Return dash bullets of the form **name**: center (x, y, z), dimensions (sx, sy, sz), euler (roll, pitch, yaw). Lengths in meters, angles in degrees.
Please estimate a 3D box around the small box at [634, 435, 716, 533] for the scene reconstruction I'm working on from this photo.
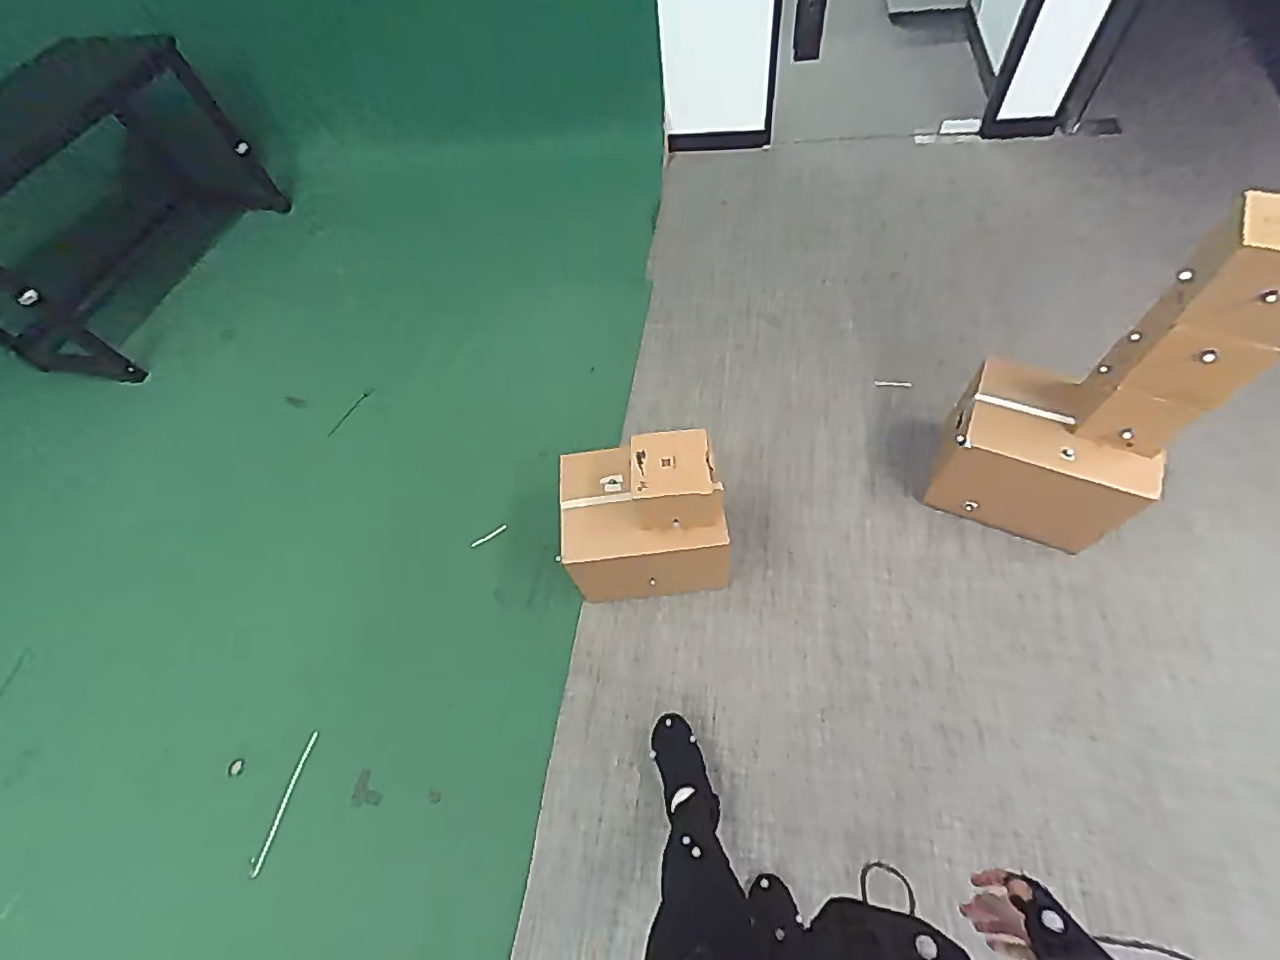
- **small box**: center (0.081, 0.014, 1.241), dimensions (0.179, 0.176, 0.168), euler (-4, 59, 6)

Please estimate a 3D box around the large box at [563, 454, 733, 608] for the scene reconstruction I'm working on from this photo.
- **large box**: center (0.027, 0.135, 1.466), dimensions (0.408, 0.320, 0.320), euler (-8, 58, 5)

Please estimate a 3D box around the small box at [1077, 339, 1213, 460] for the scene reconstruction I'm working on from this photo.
- **small box**: center (1.122, -0.177, 1.211), dimensions (0.168, 0.176, 0.179), euler (22, 63, 20)

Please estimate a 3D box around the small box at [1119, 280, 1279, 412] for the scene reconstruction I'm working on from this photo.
- **small box**: center (1.112, -0.260, 1.072), dimensions (0.179, 0.176, 0.168), euler (23, 63, 21)
